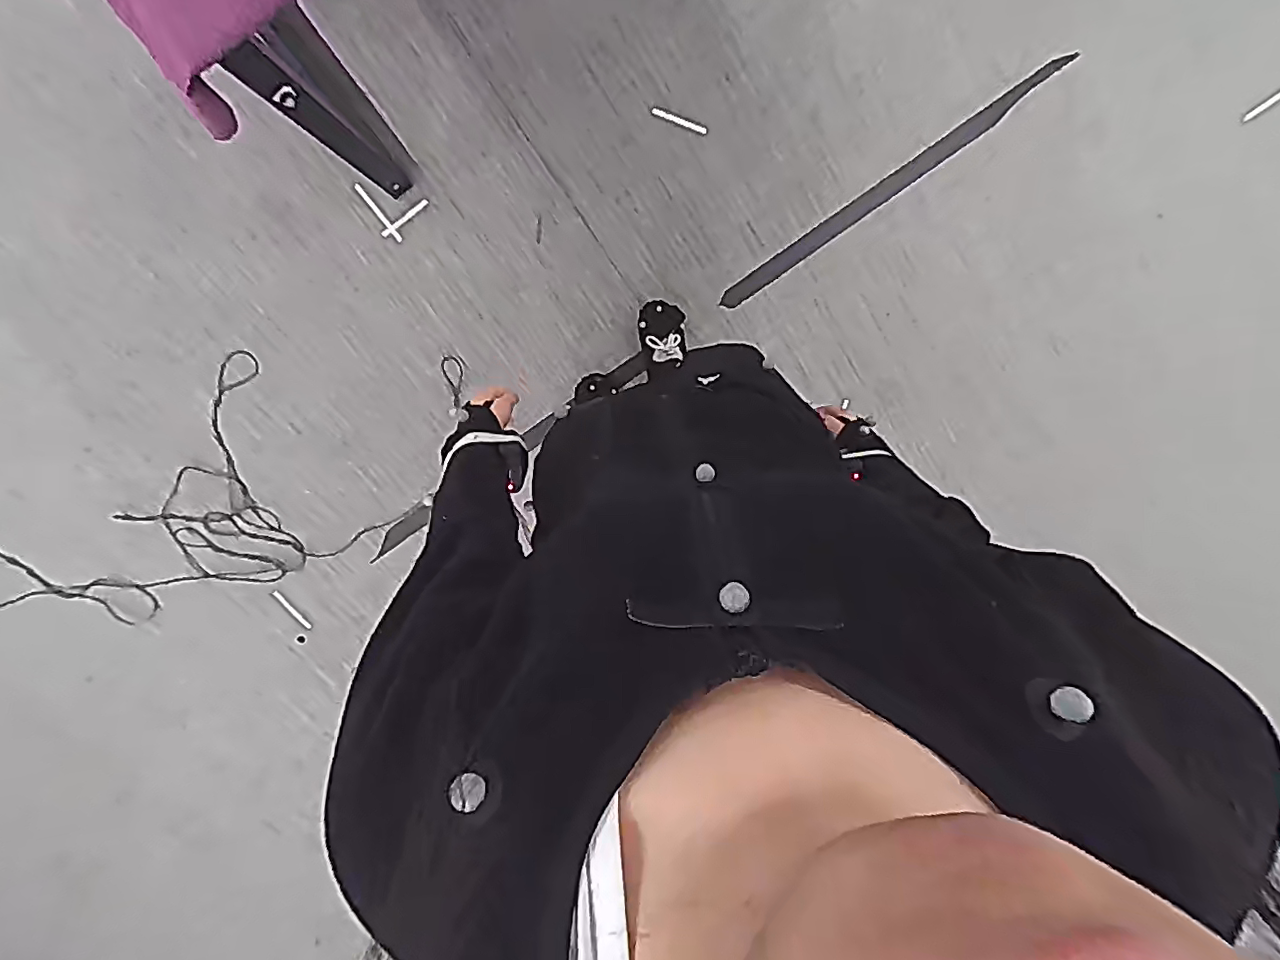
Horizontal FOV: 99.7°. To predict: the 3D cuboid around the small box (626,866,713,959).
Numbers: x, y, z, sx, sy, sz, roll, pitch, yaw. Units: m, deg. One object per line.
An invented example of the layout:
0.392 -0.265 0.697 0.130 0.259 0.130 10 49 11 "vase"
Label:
0.068 1.127 1.375 0.179 0.176 0.168 13 101 -6 "small box"
